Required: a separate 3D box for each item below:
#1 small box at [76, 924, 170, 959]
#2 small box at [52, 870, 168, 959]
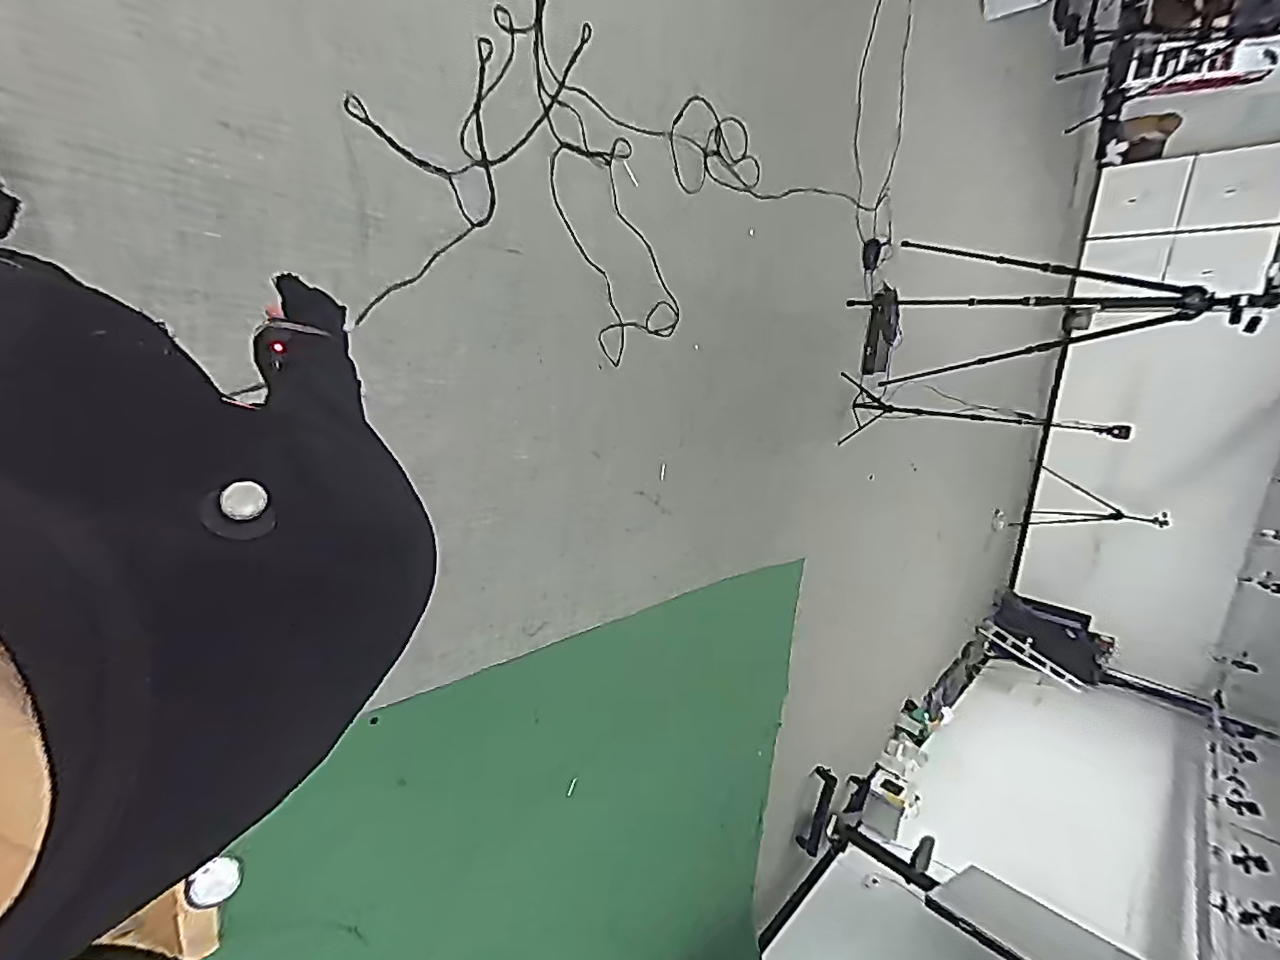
[{"bbox_3d":[-1.012,1.025,1.036,0.168,0.176,0.179,-1,102,-47],"label":"small box"},{"bbox_3d":[-1.123,0.980,1.147,0.168,0.176,0.179,-3,104,-47],"label":"small box"}]
